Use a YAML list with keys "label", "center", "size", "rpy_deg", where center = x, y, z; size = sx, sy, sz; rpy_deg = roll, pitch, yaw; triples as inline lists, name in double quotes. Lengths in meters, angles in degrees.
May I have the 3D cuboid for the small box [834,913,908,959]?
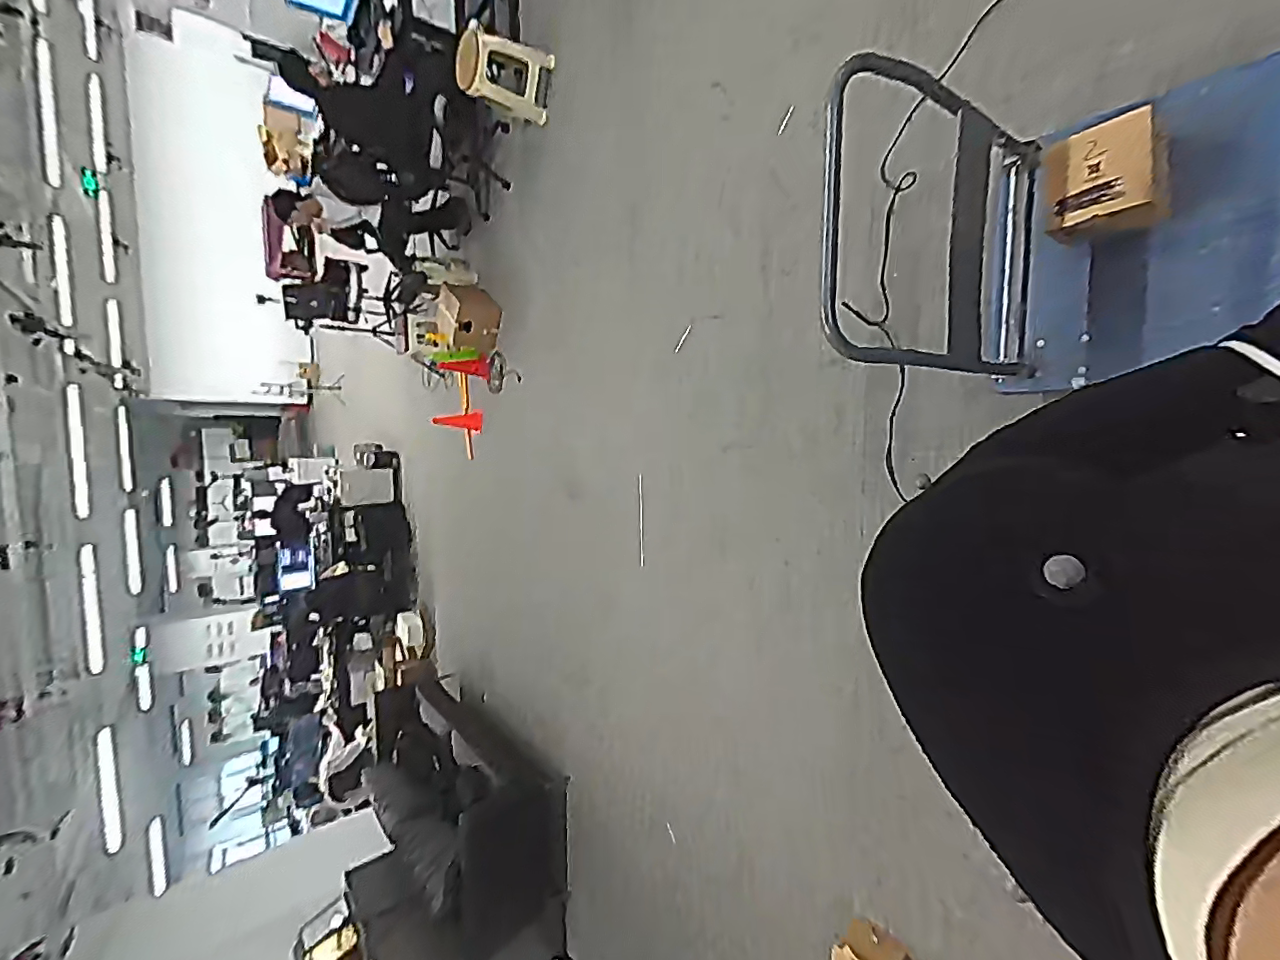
- label: "small box"
  center: [0.759, 1.606, 1.788]
  size: [0.168, 0.176, 0.179]
  rpy_deg: [22, 109, 46]
